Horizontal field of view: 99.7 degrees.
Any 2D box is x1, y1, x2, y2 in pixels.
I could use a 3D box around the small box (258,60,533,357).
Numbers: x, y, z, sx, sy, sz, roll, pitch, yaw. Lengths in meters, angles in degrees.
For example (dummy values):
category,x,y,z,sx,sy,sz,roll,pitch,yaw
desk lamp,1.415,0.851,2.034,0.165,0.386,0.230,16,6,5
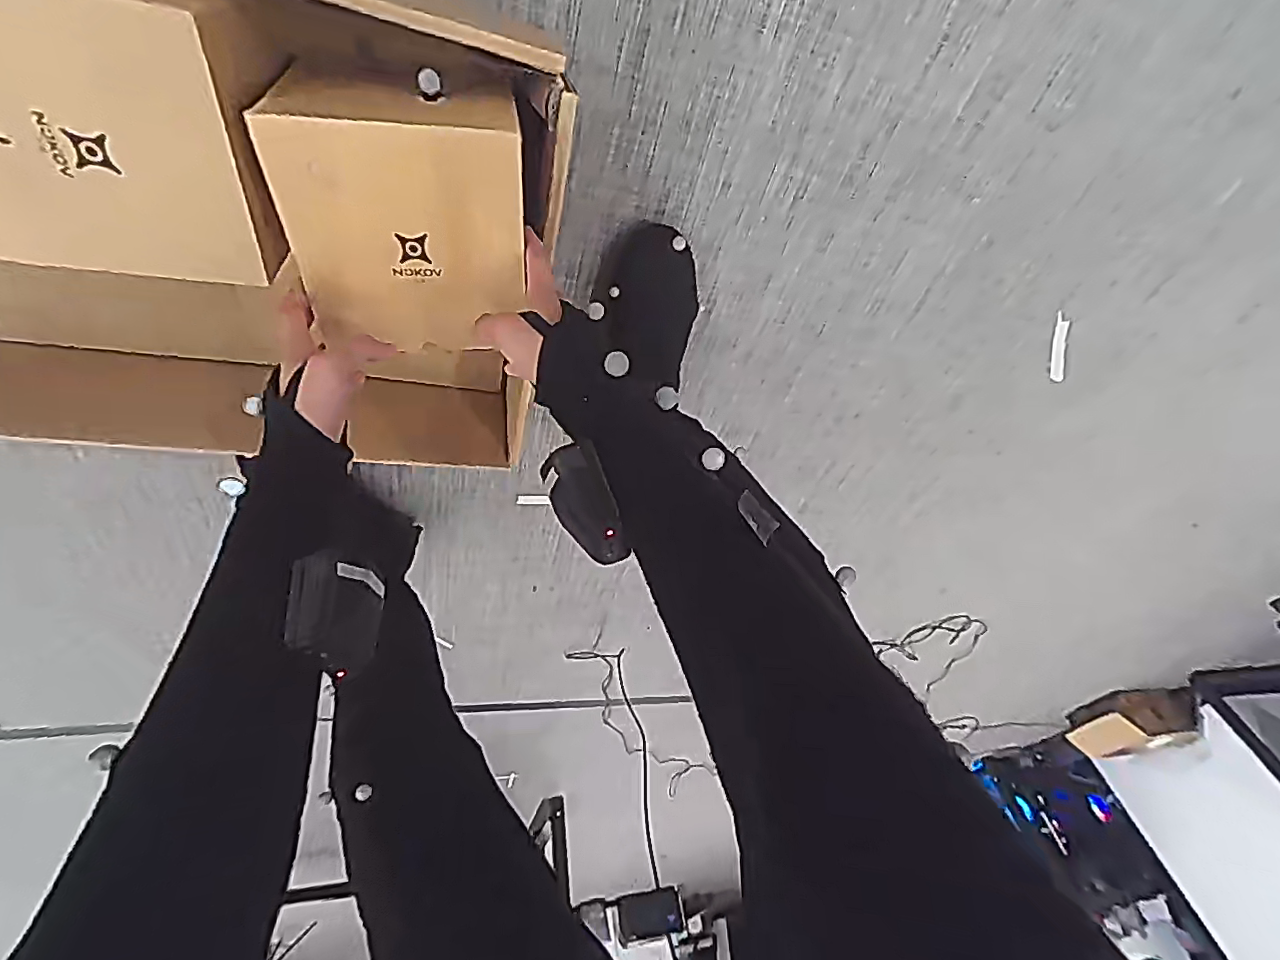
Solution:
category,x,y,z,sx,sy,sz,roll,pitch,yaw
small box,-0.180,-0.224,0.453,0.168,0.176,0.179,-4,138,-13
